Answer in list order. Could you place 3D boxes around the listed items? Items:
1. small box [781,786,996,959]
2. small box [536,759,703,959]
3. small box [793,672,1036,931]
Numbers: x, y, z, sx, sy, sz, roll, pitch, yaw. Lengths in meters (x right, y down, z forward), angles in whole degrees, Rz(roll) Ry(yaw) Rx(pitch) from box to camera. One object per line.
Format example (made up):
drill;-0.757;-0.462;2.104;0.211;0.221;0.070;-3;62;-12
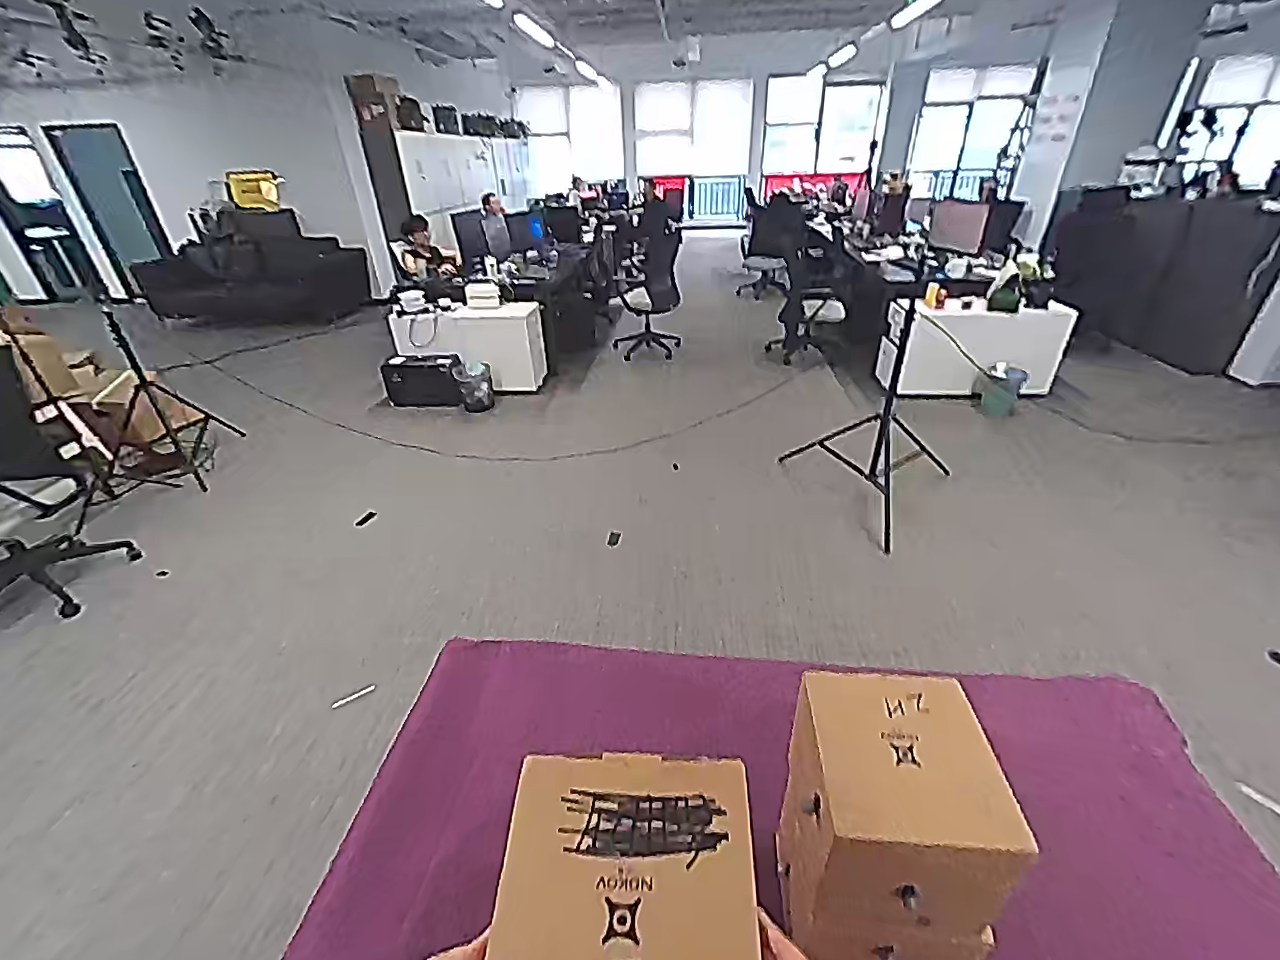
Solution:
small box;0.272;0.475;0.641;0.179;0.176;0.168;1;31;6
small box;-0.013;0.472;0.660;0.179;0.176;0.168;2;31;5
small box;0.260;0.329;0.565;0.168;0.176;0.179;1;31;6
